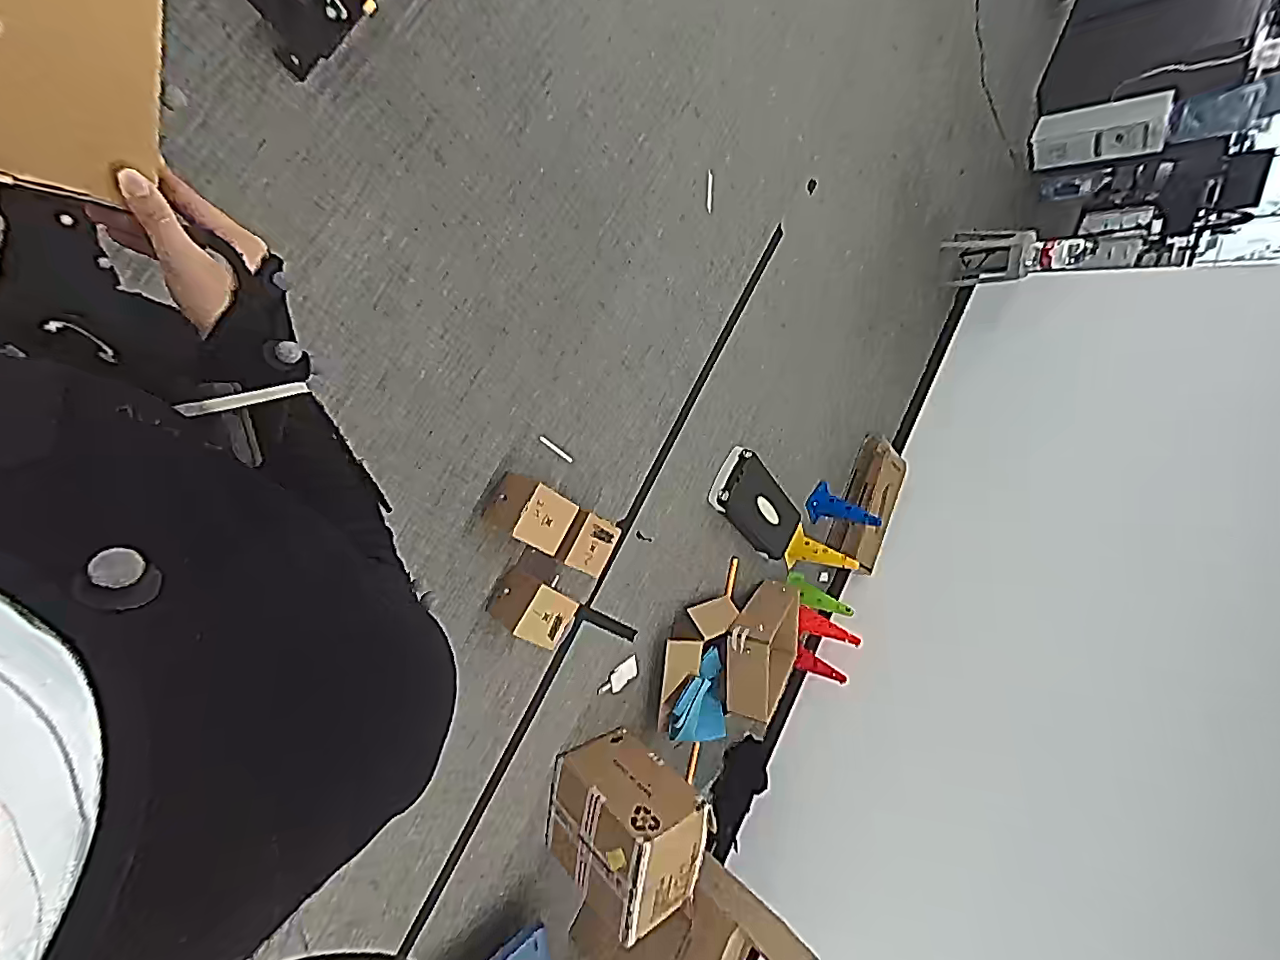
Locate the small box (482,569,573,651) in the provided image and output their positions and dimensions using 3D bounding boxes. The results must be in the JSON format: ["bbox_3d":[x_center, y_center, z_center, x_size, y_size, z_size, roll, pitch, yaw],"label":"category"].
[{"bbox_3d":[-0.349,0.395,1.666,0.179,0.176,0.168,43,72,-43],"label":"small box"}]

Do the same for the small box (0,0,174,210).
[{"bbox_3d":[-0.394,-0.278,0.311,0.168,0.176,0.179,-1,111,-49],"label":"small box"}]

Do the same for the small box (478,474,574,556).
[{"bbox_3d":[-0.334,0.098,1.582,0.179,0.176,0.168,38,75,-45],"label":"small box"}]
